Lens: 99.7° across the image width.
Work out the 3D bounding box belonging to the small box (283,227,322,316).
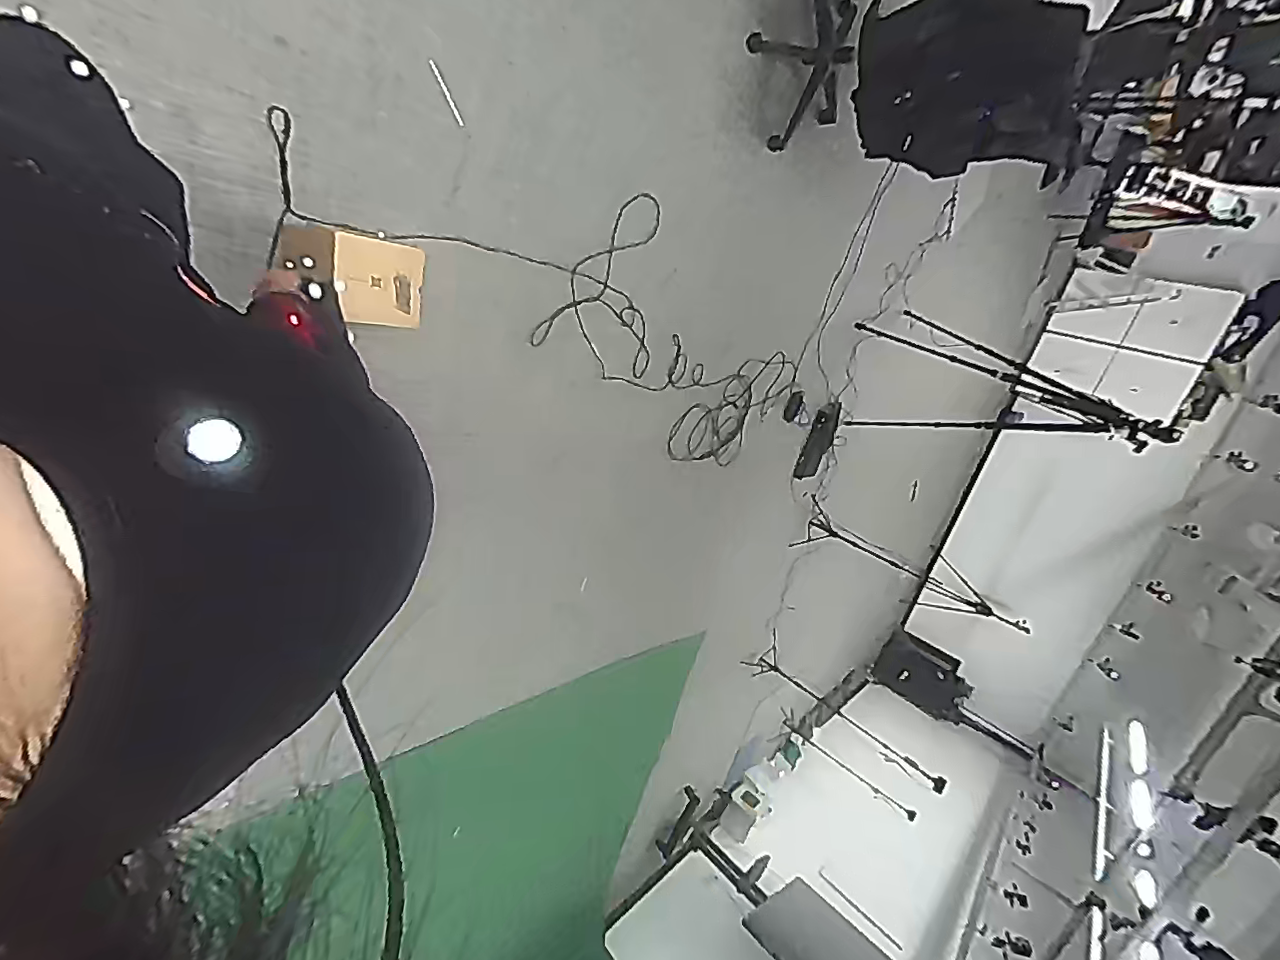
[{"bbox_3d":[-0.692,-0.469,1.230,0.179,0.176,0.168,-13,123,-45],"label":"small box"}]

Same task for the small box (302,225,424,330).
[{"bbox_3d":[-0.576,-0.421,1.123,0.179,0.176,0.168,-8,118,-46],"label":"small box"}]
